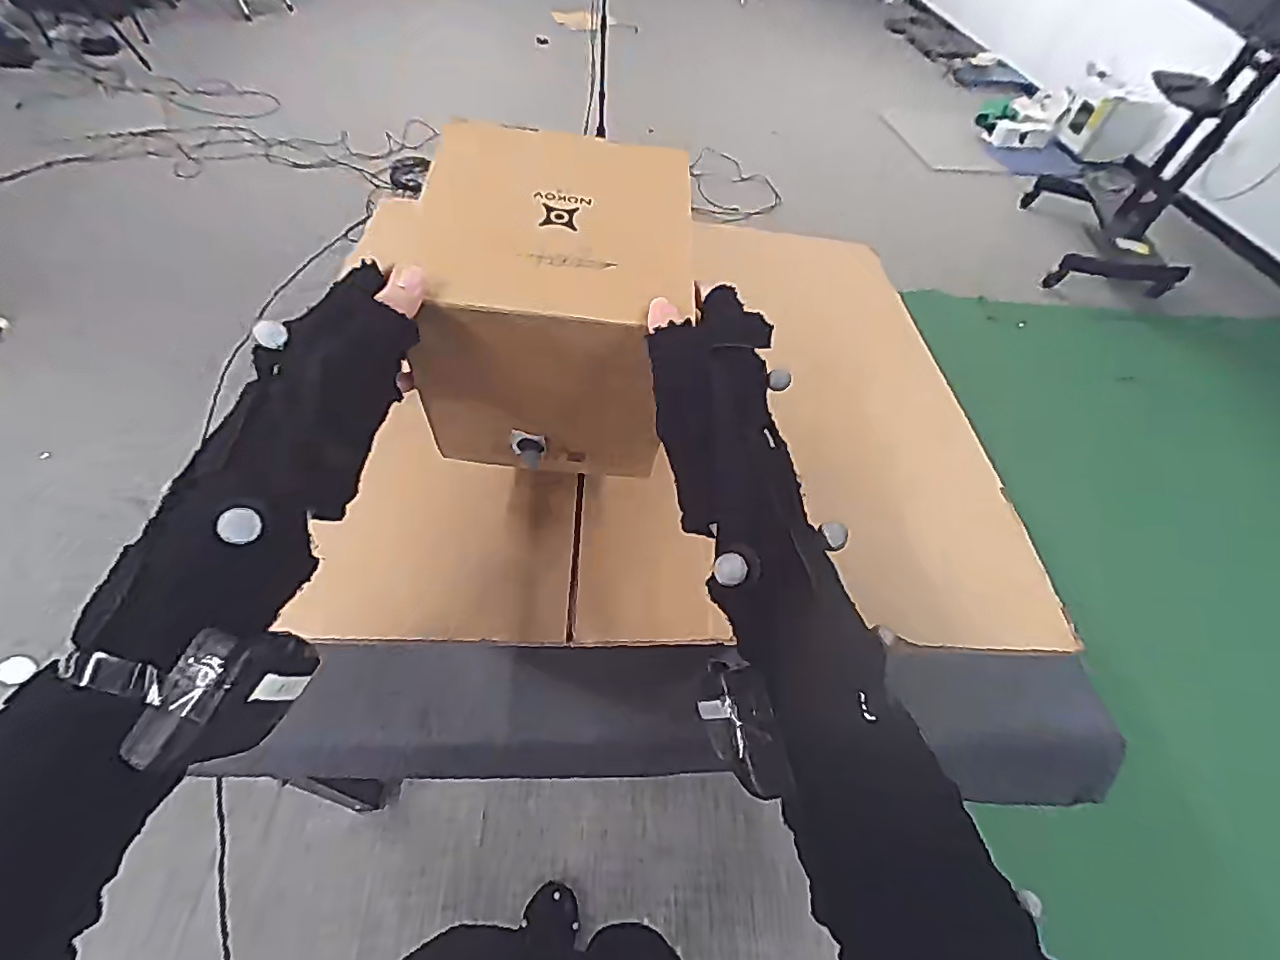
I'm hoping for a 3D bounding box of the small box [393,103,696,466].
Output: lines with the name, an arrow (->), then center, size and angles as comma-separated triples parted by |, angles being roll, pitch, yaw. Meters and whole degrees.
small box -> -0.058, -0.132, 0.399 | 0.168, 0.176, 0.179 | 4, 60, -6
